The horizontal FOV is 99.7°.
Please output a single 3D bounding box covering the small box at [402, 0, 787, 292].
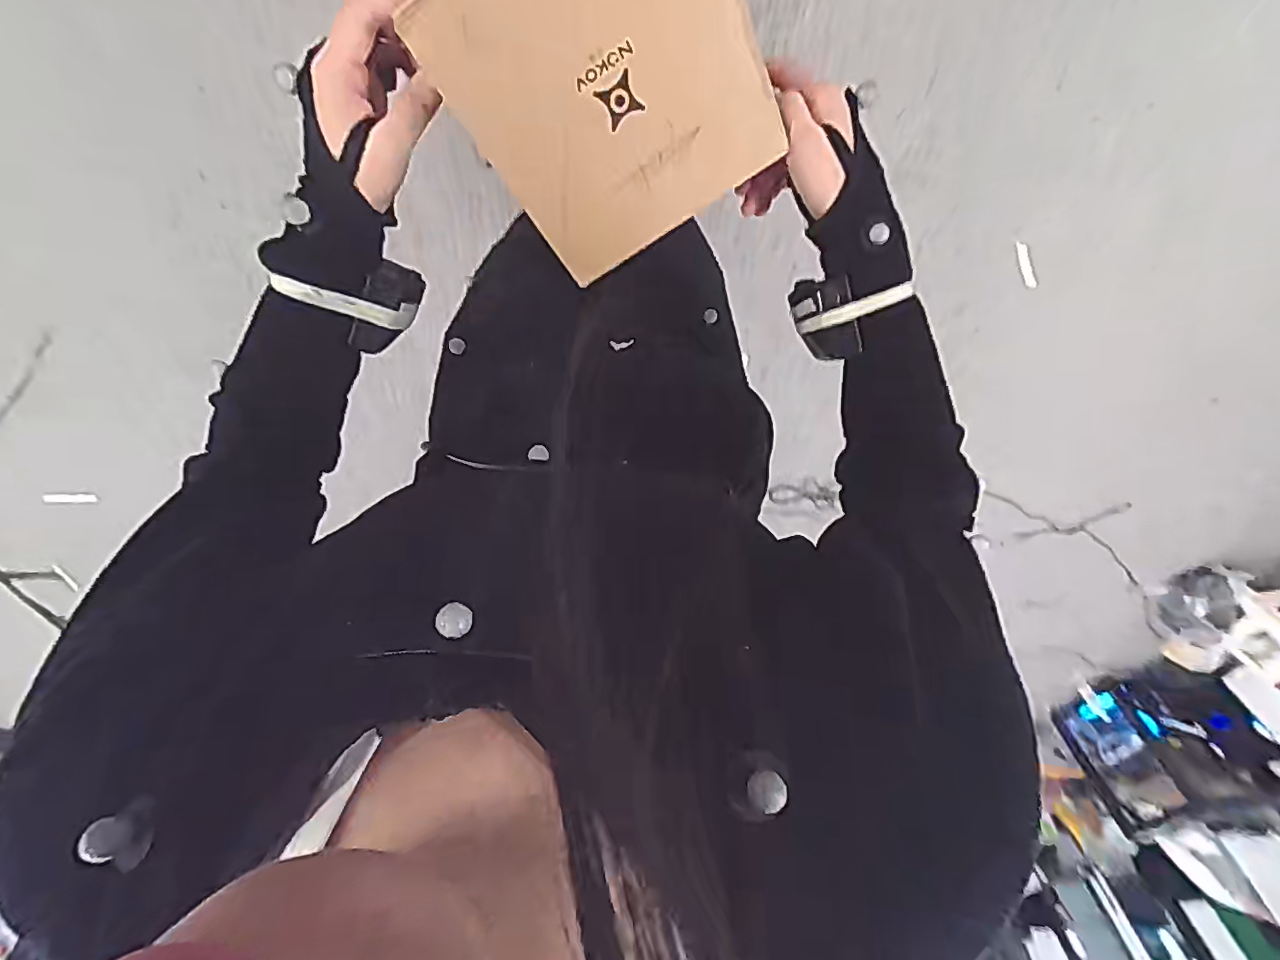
[{"bbox_3d":[-0.030,-0.272,0.367,0.168,0.176,0.179,-30,136,13],"label":"small box"}]
